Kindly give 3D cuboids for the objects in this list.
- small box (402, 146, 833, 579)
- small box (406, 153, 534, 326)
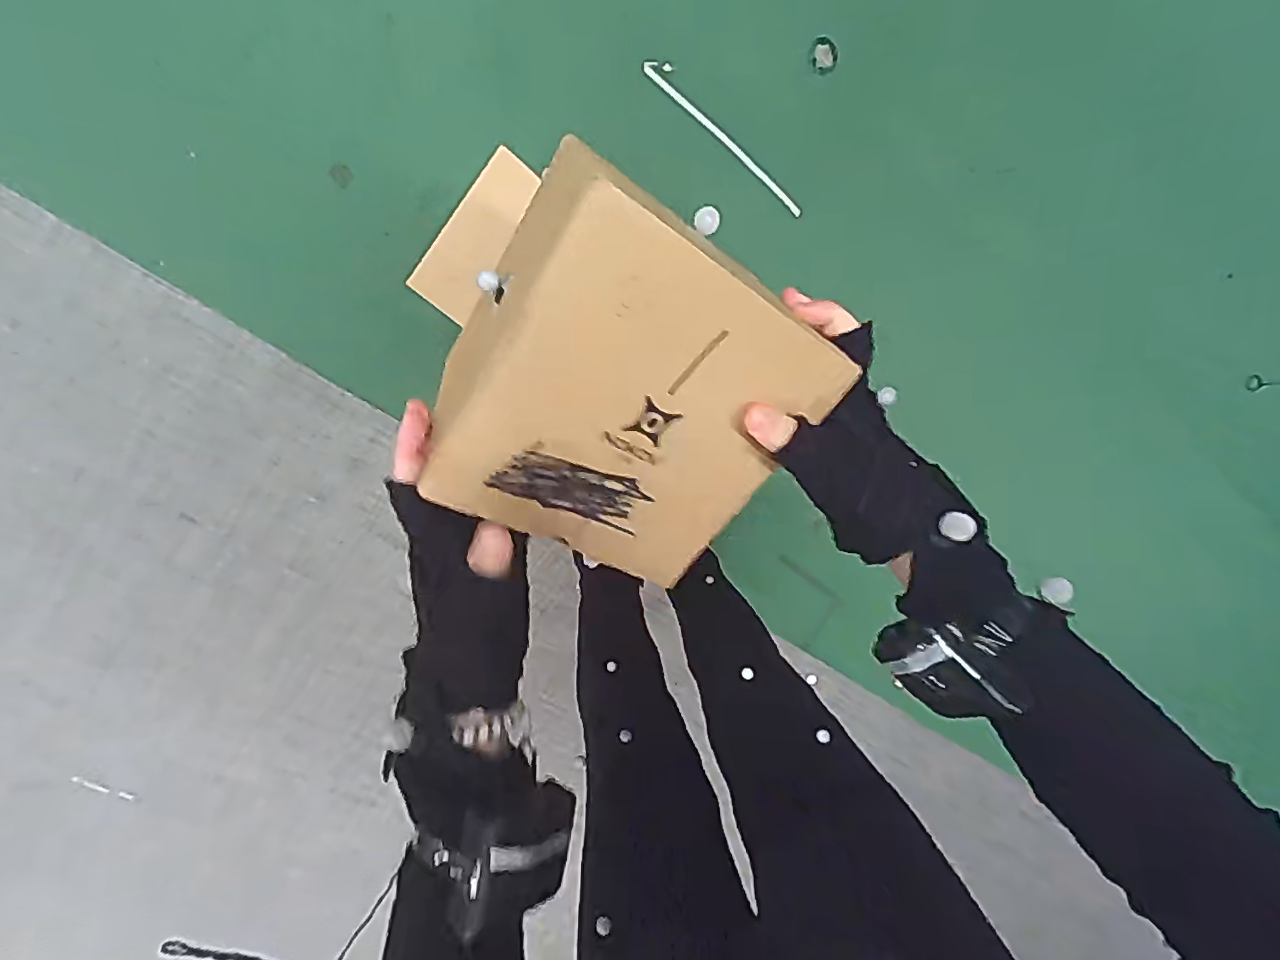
[{"bbox_3d":[-0.023,-0.075,0.344,0.168,0.176,0.179,26,117,-27],"label":"small box"},{"bbox_3d":[-0.132,-0.232,0.632,0.179,0.176,0.168,37,101,-19],"label":"small box"}]
